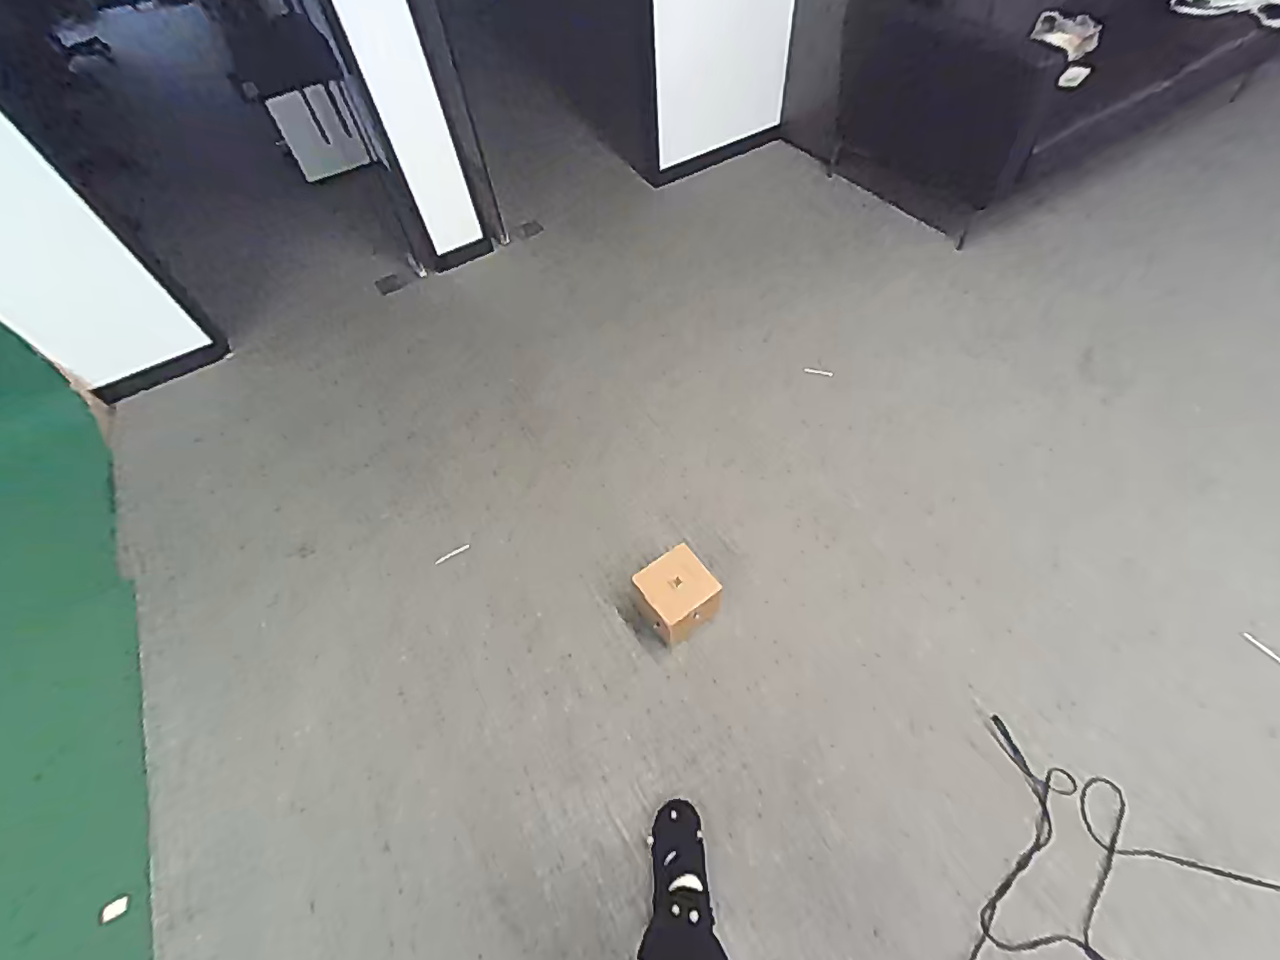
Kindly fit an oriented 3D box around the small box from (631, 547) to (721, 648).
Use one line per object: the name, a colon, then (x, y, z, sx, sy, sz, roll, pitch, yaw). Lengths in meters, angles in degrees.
small box: (0.098, 0.318, 1.446, 0.179, 0.176, 0.168, -31, 59, -17)
